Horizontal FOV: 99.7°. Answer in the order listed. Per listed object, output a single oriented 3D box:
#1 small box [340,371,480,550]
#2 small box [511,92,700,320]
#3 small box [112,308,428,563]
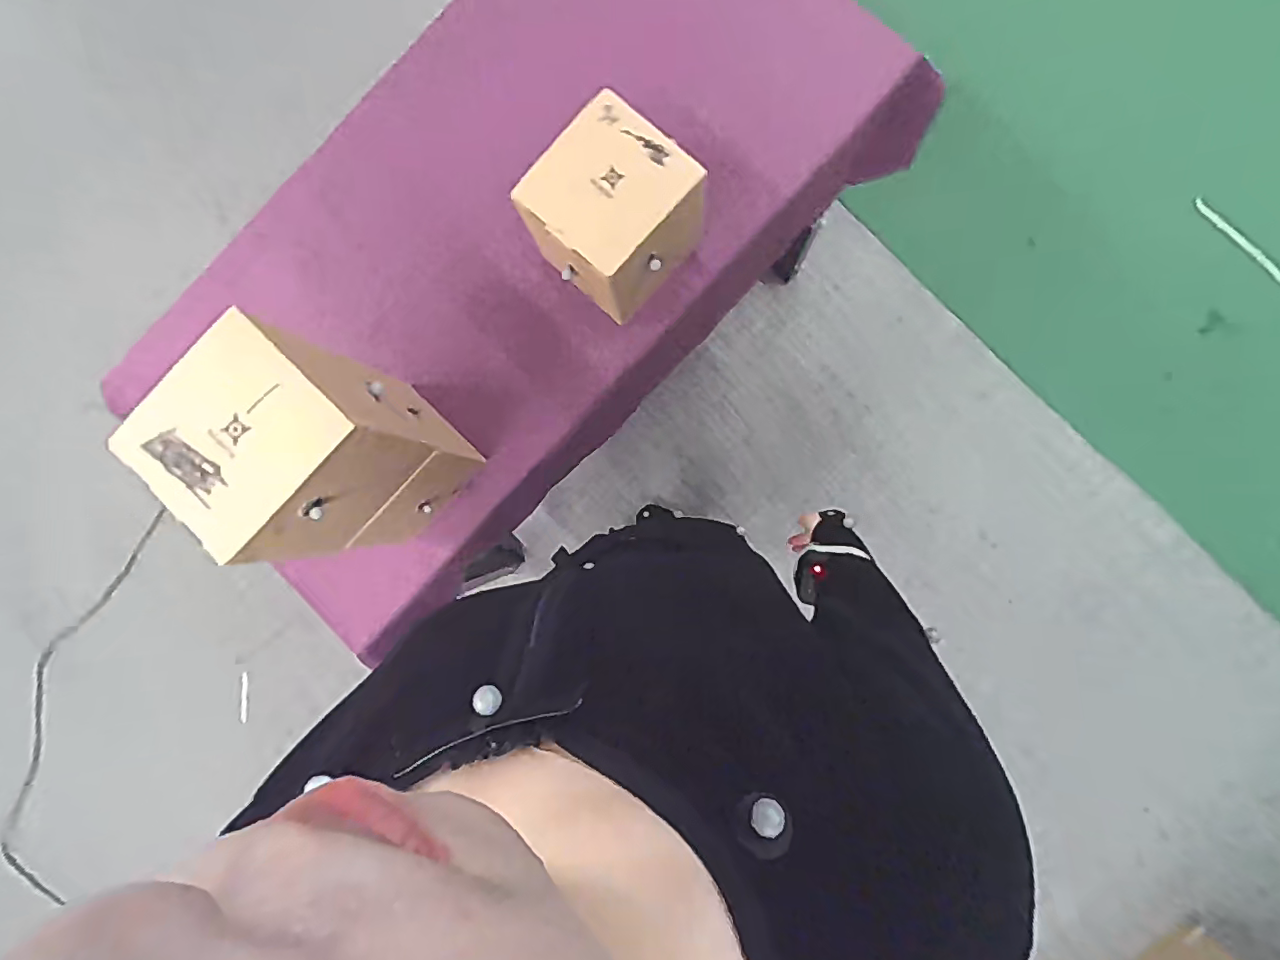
[{"bbox_3d":[-0.349,-0.029,0.730,0.179,0.176,0.168,44,90,6],"label":"small box"},{"bbox_3d":[-0.034,-0.346,0.722,0.168,0.176,0.179,43,92,5],"label":"small box"},{"bbox_3d":[-0.363,-0.036,0.566,0.168,0.176,0.179,43,90,5],"label":"small box"}]
